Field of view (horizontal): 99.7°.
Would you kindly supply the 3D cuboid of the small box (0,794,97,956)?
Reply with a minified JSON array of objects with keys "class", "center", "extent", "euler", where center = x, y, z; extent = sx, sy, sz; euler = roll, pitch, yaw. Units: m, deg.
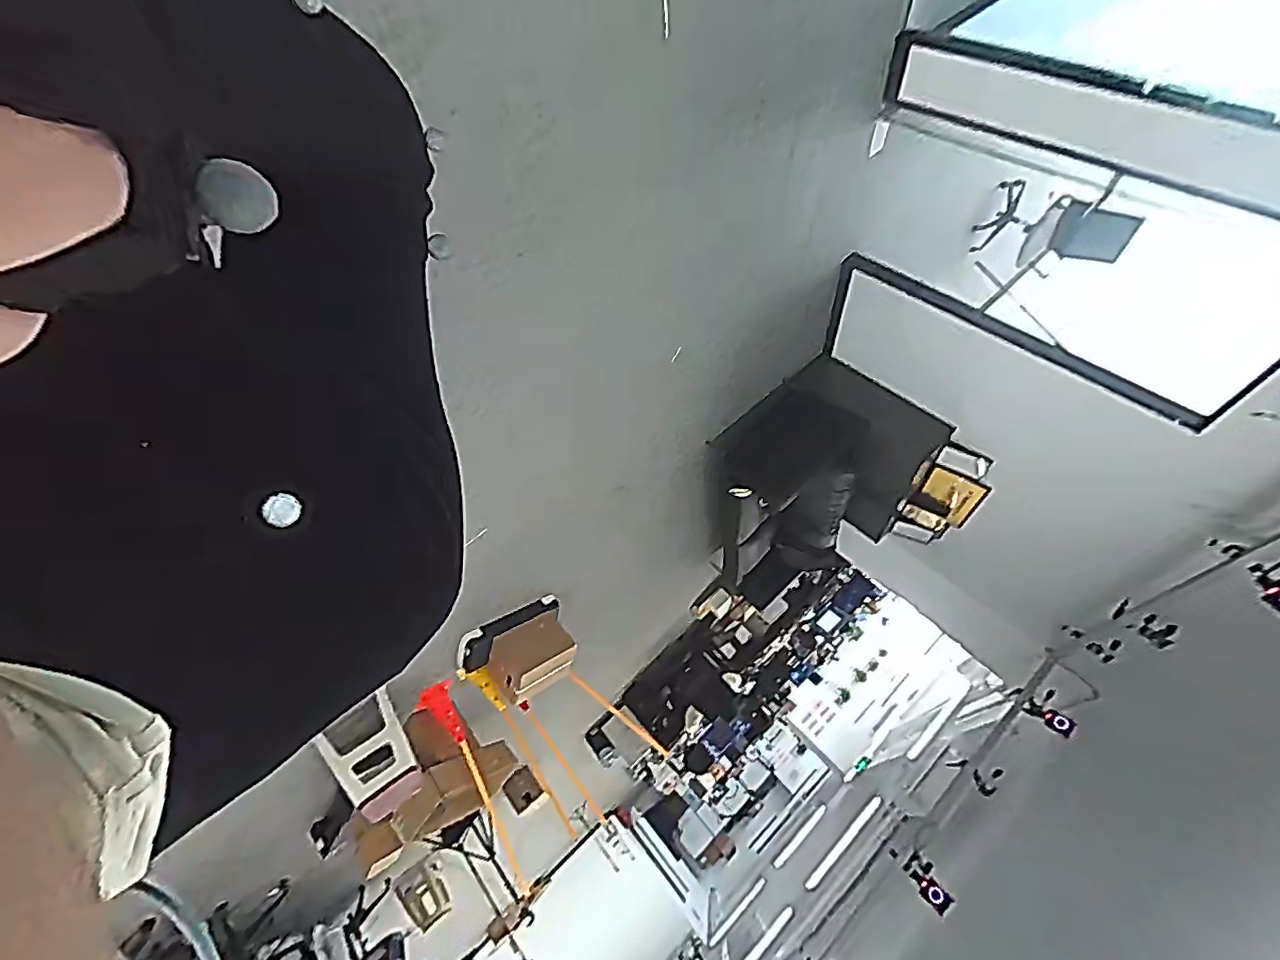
[{"class":"small box","center":[-1.103,0.676,0.923],"extent":[0.179,0.176,0.168],"euler":[-42,152,-15]}]
